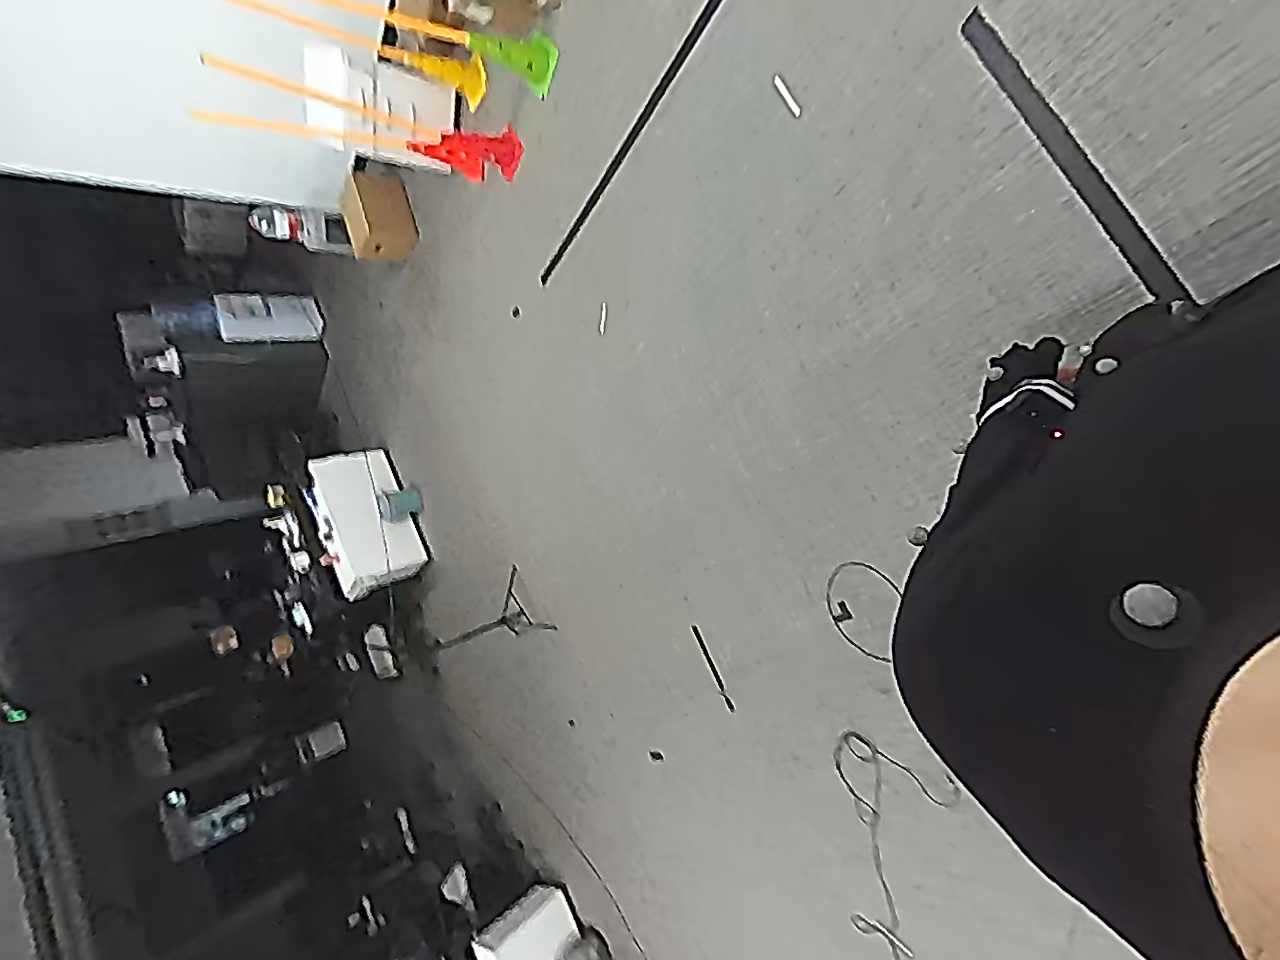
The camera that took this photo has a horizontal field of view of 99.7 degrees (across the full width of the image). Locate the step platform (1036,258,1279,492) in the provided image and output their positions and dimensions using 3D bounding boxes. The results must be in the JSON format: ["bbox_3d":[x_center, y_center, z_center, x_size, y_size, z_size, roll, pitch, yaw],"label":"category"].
[{"bbox_3d":[1.190,-0.241,1.045,0.684,0.204,0.286,-40,73,43],"label":"step platform"}]
